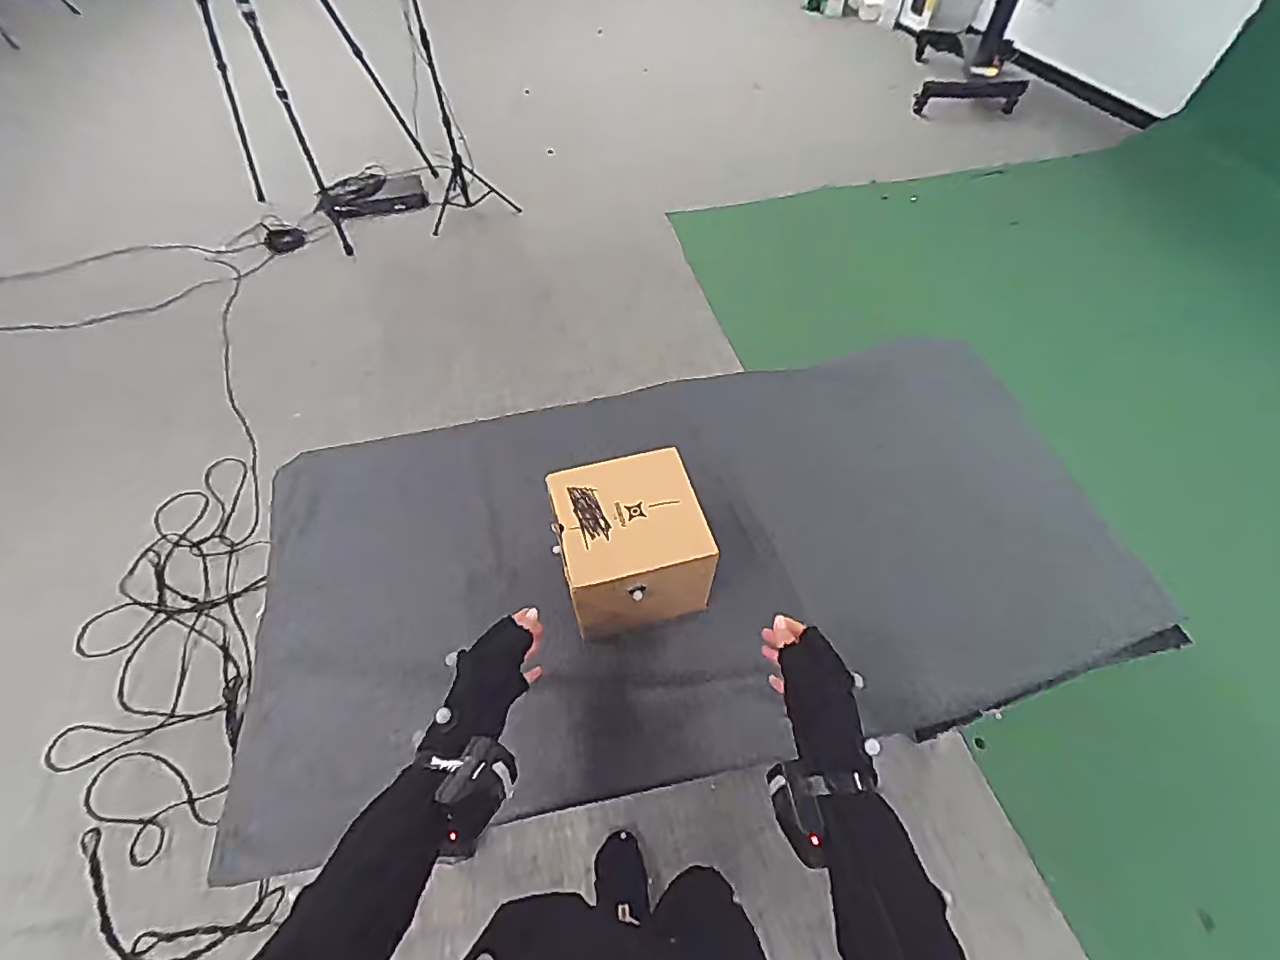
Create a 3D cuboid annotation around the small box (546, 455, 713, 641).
[{"bbox_3d":[-0.016,0.095,0.719,0.179,0.176,0.168,-12,55,-9],"label":"small box"}]
